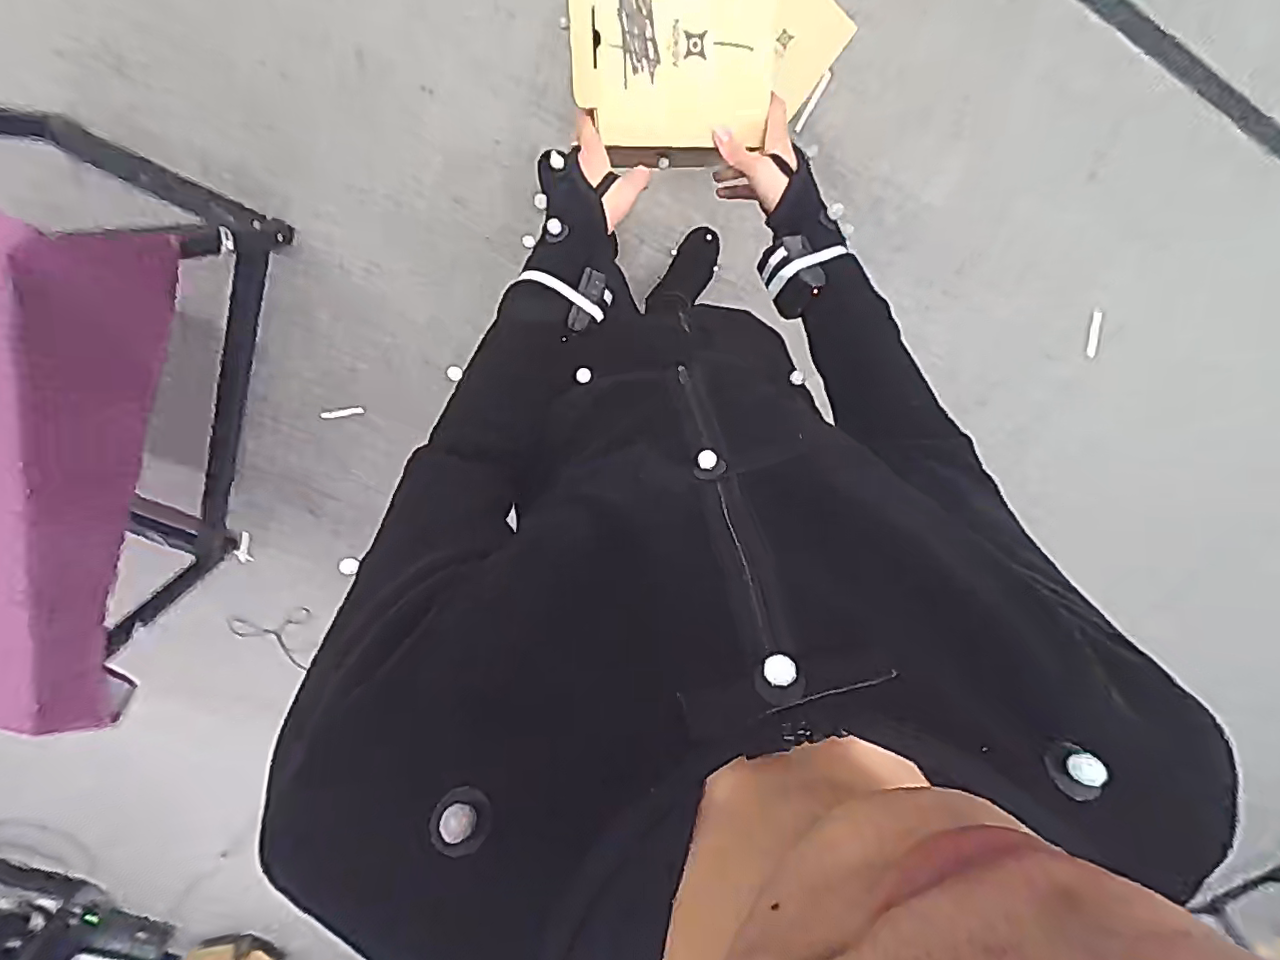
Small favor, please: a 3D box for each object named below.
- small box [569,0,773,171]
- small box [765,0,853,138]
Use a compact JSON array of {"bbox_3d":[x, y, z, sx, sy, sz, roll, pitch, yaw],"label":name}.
[{"bbox_3d":[0.021,-0.427,0.567,0.179,0.176,0.168,-7,115,-12],"label":"small box"},{"bbox_3d":[0.212,-0.709,0.906,0.168,0.176,0.179,35,113,-16],"label":"small box"}]
